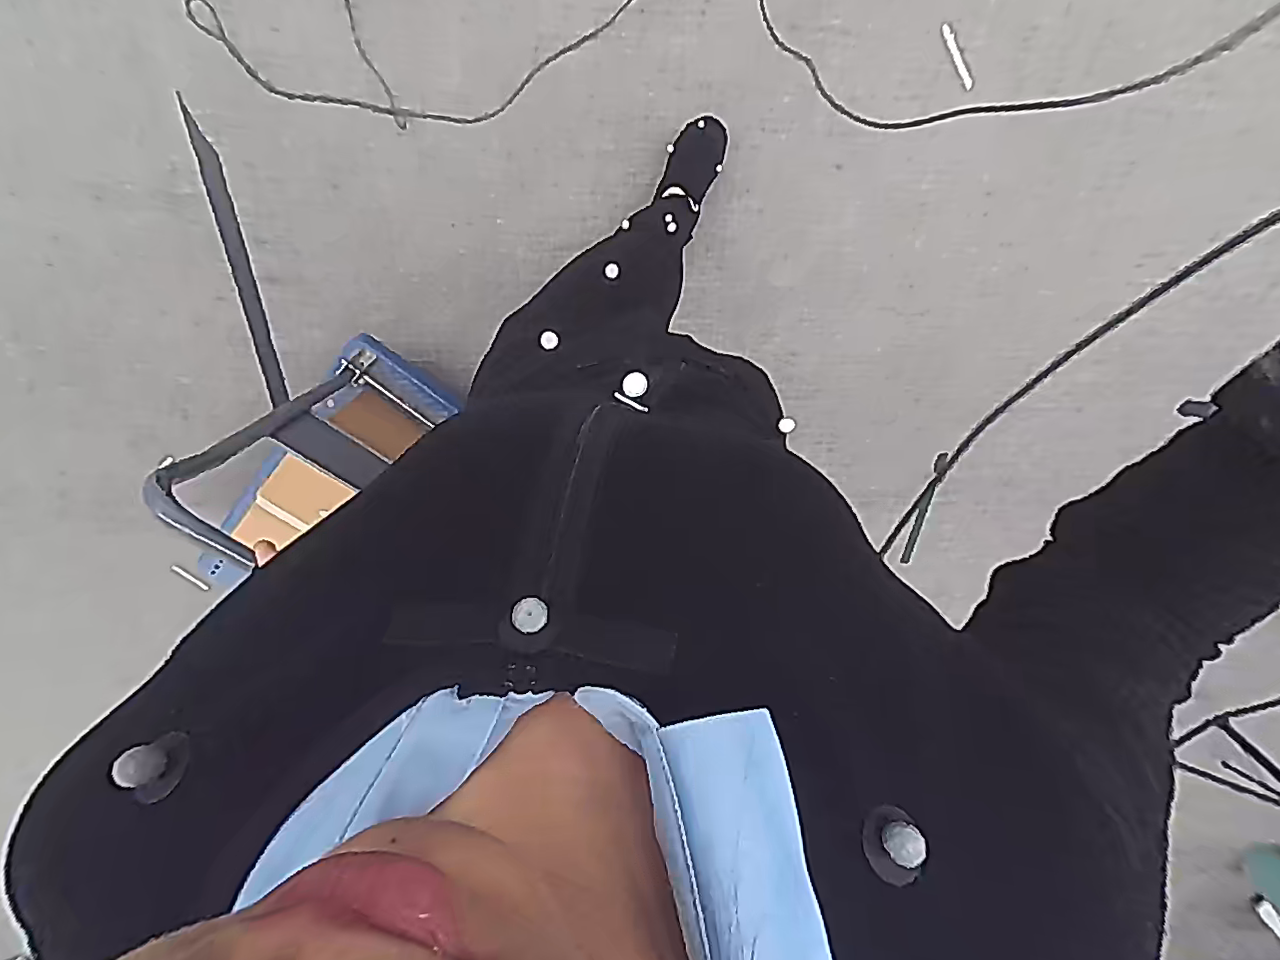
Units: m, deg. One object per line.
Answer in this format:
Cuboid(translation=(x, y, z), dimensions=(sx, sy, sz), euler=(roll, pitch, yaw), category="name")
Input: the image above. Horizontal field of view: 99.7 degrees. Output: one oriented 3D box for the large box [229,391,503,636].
Cuboid(translation=(-0.590, 0.072, 1.240), dimensions=(0.408, 0.320, 0.320), euler=(39, 110, -19), category="large box")
